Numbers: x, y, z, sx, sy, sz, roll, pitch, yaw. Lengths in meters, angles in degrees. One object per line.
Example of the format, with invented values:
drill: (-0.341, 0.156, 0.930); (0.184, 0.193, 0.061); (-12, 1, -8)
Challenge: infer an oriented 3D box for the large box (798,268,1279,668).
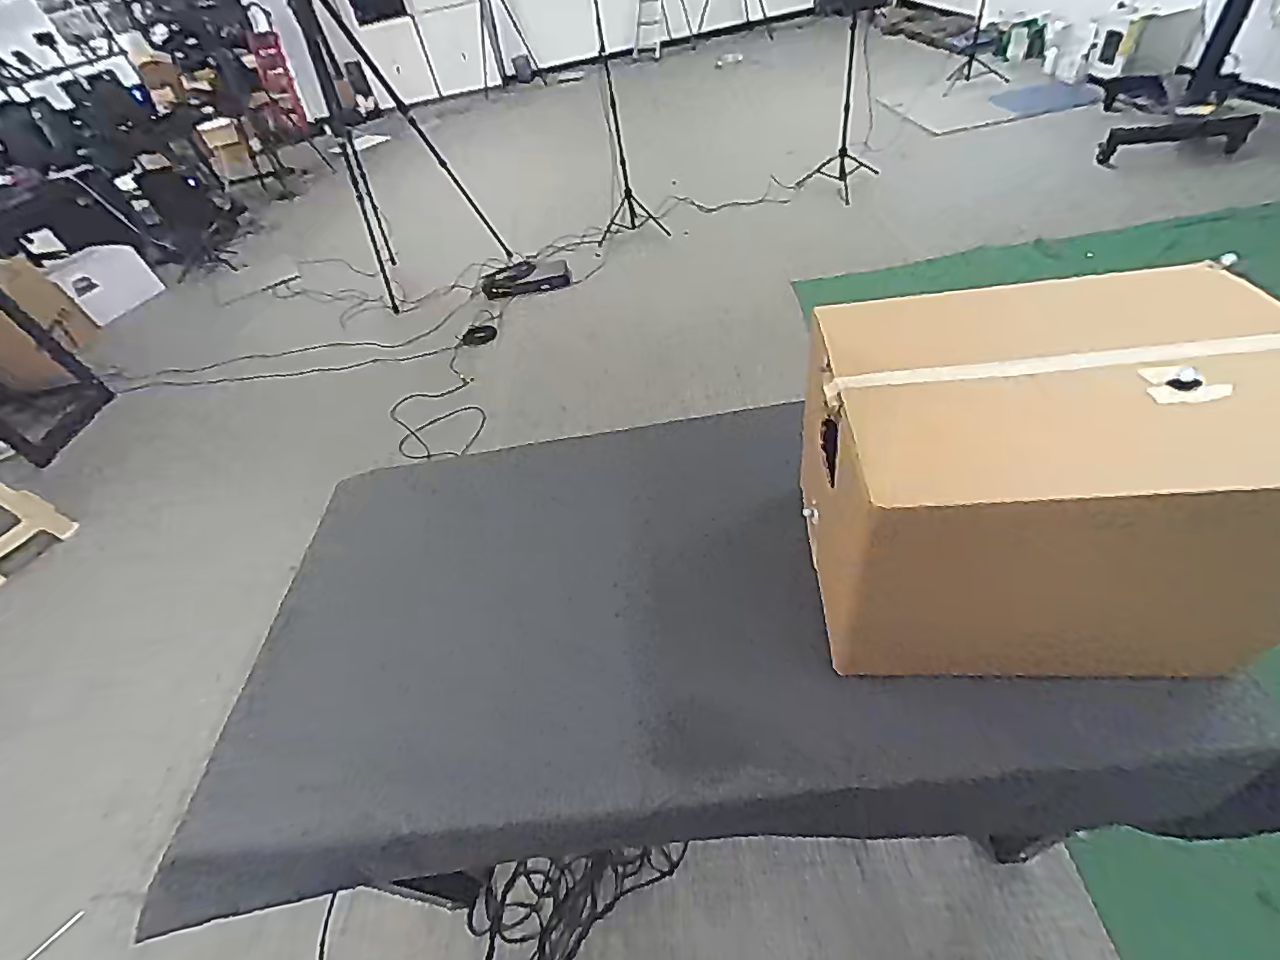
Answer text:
large box: (0.411, -0.002, 0.606); (0.408, 0.320, 0.320); (-3, 47, 9)
